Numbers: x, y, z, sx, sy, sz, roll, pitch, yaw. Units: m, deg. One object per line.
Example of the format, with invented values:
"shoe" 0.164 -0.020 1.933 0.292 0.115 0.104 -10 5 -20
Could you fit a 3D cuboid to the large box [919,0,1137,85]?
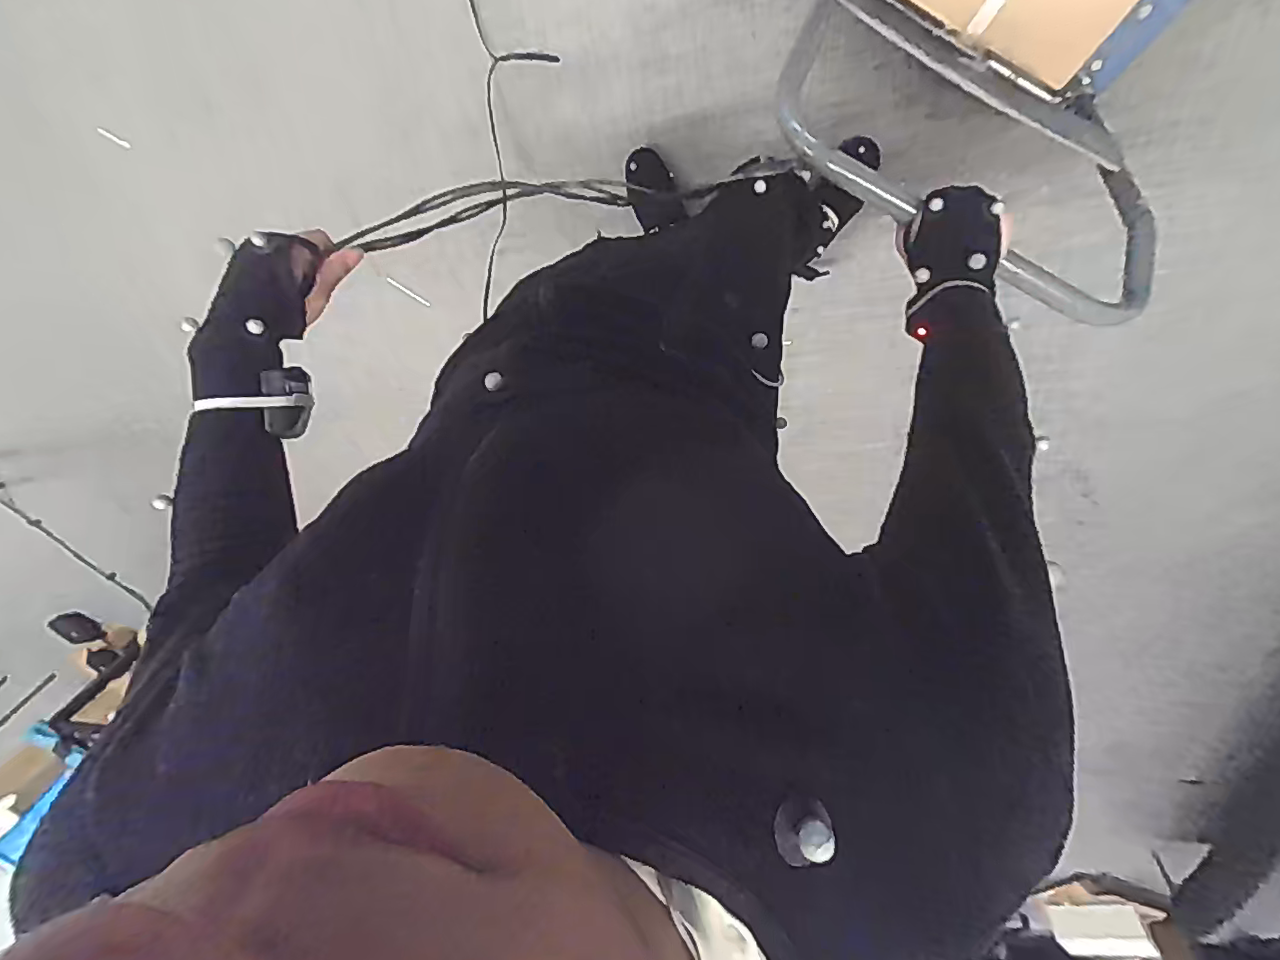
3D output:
"large box" 0.569 -0.830 0.689 0.320 0.320 0.408 27 140 -7
